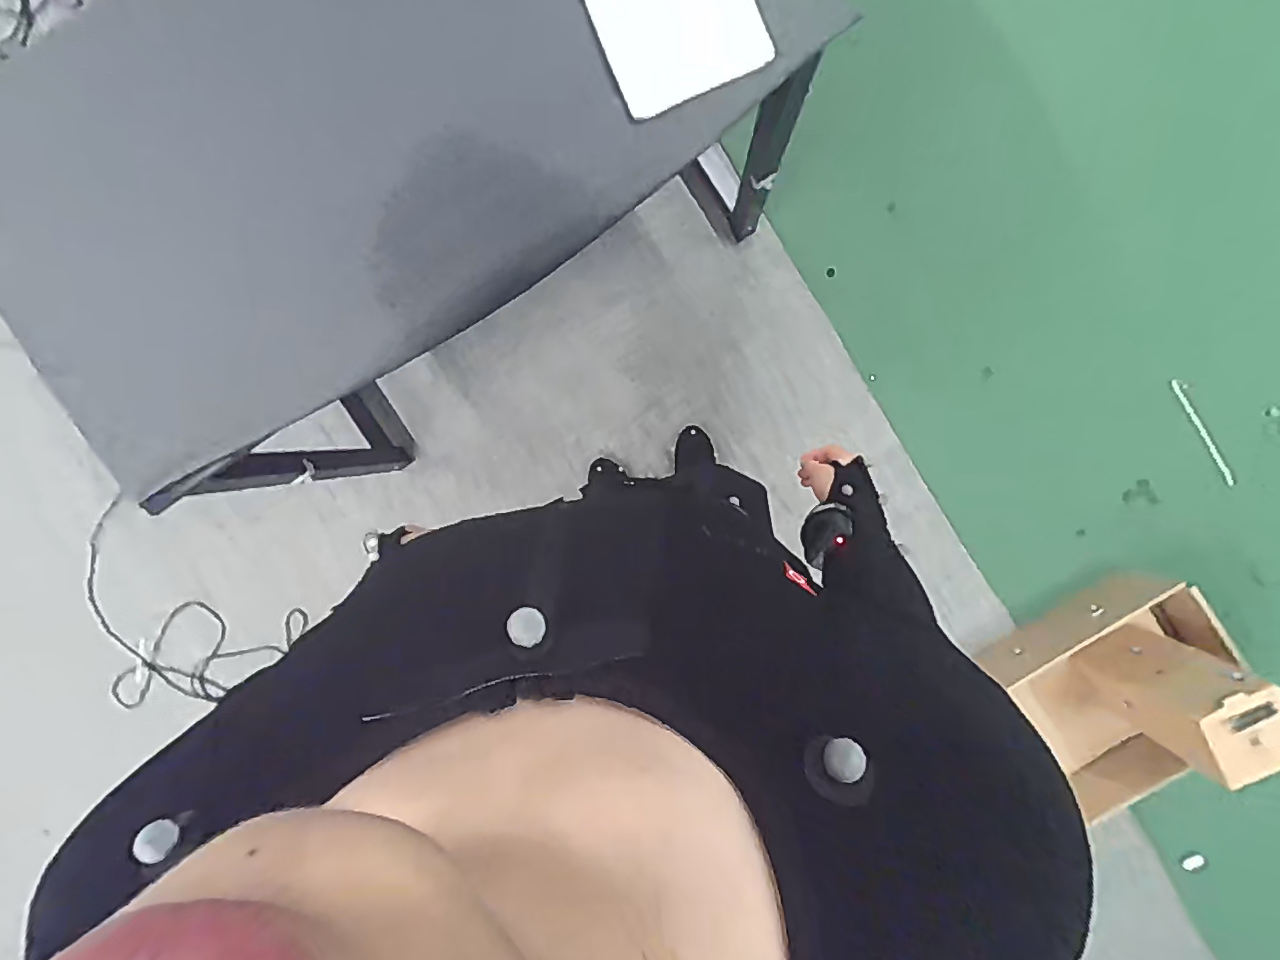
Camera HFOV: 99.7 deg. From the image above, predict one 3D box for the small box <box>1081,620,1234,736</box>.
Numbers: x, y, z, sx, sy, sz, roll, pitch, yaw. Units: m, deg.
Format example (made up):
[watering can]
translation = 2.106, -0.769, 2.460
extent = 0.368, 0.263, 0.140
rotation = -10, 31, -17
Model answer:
[small box]
translation = 1.240, 0.469, 1.310
extent = 0.179, 0.176, 0.168
rotation = -33, 93, 6
